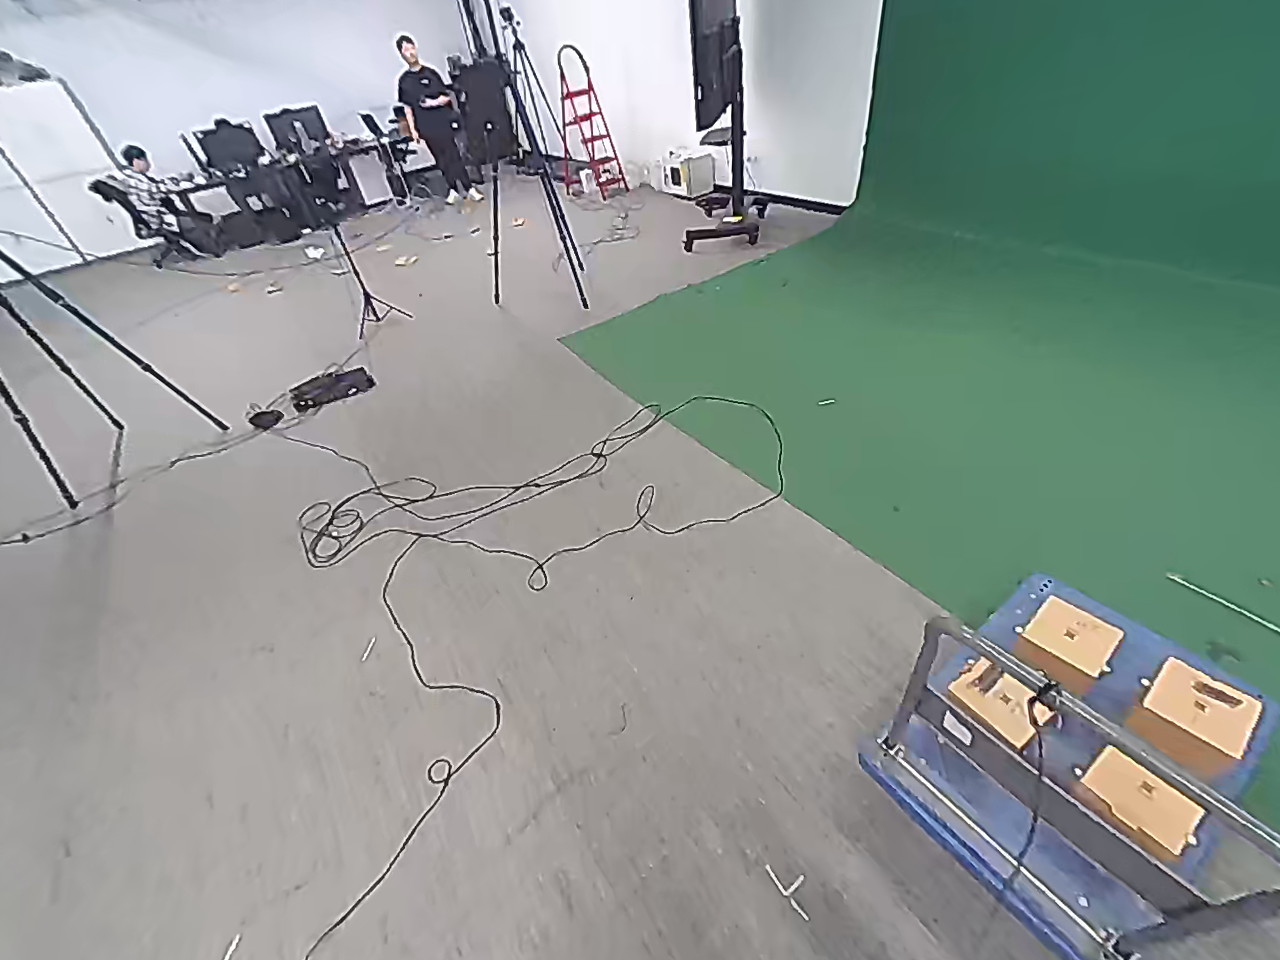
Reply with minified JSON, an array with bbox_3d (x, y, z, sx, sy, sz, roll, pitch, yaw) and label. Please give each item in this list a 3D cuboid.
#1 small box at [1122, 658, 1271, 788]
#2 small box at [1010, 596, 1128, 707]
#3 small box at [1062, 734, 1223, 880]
[{"bbox_3d":[1.247,0.551,1.223,0.179,0.176,0.168,-34,45,-23],"label":"small box"},{"bbox_3d":[1.086,0.441,1.383,0.179,0.176,0.168,-33,46,-24],"label":"small box"},{"bbox_3d":[1.030,0.679,1.125,0.179,0.176,0.168,-30,45,-20],"label":"small box"}]
